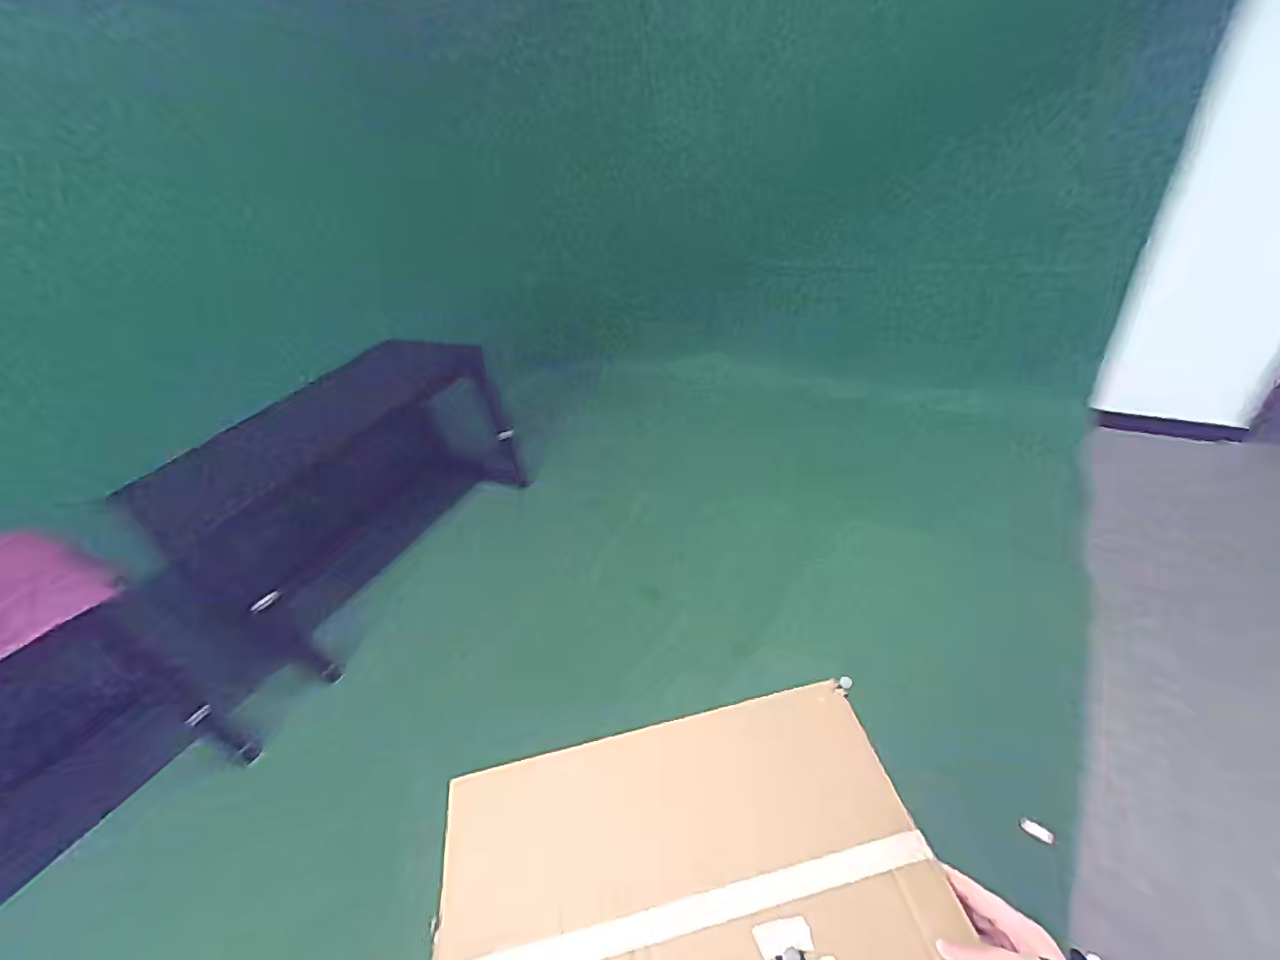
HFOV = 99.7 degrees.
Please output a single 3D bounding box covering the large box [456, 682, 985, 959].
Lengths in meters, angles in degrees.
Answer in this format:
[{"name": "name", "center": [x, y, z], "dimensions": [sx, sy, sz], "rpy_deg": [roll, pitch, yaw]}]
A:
[{"name": "large box", "center": [0.062, 0.461, 0.533], "dimensions": [0.408, 0.320, 0.320], "rpy_deg": [-11, 39, -4]}]
